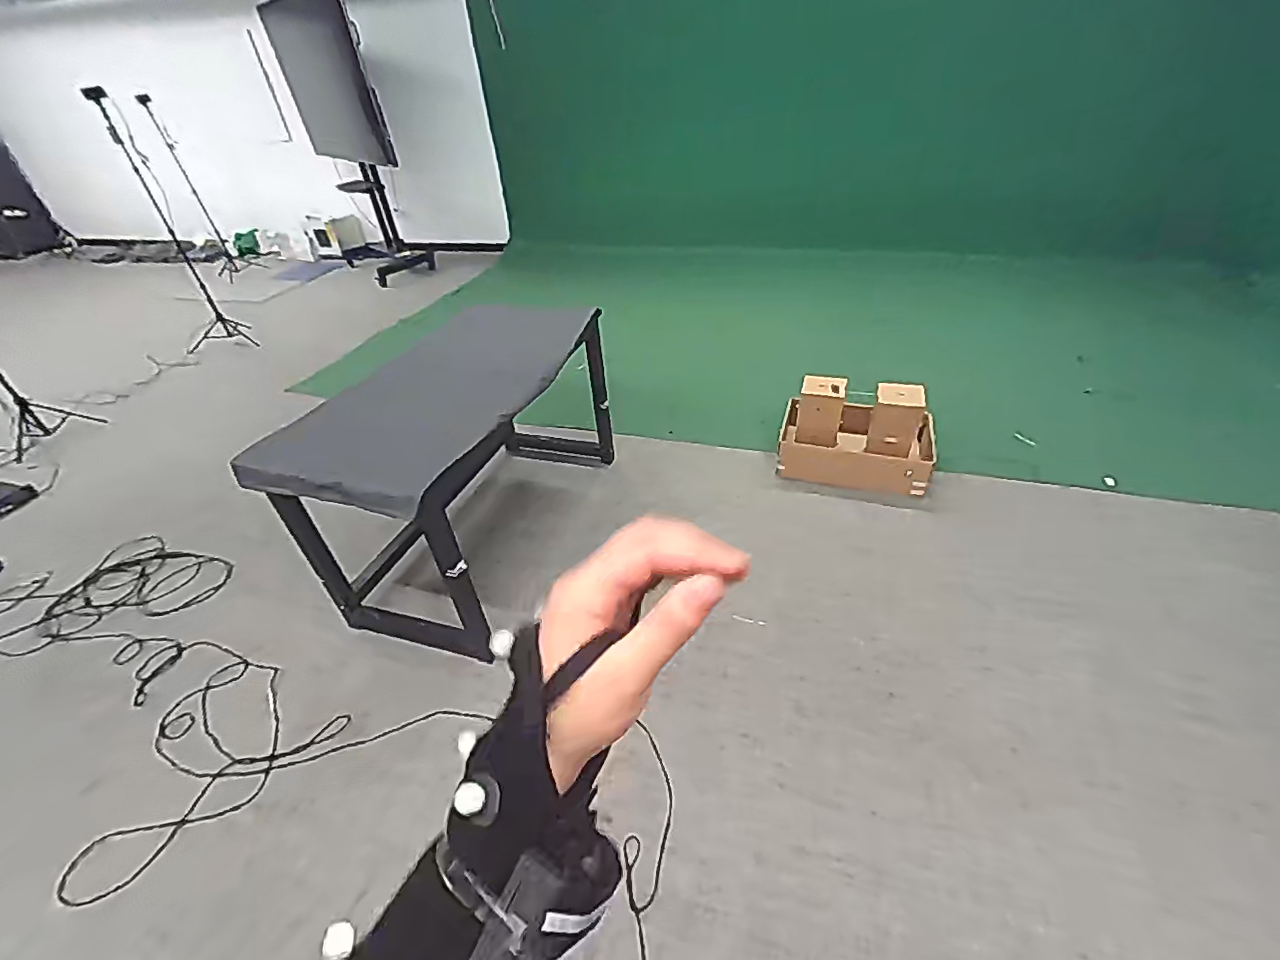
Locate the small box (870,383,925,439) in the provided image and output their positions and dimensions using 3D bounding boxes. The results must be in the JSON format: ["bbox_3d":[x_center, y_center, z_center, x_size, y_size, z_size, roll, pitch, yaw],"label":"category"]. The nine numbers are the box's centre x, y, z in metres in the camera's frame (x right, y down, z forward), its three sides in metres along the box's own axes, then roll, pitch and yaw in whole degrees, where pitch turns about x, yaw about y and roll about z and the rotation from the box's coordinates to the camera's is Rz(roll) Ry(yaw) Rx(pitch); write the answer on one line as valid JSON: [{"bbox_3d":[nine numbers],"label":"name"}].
[{"bbox_3d":[1.058,-0.284,2.234,0.179,0.176,0.168,9,42,16],"label":"small box"}]

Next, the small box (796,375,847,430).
[{"bbox_3d":[0.775,-0.331,2.317,0.179,0.176,0.168,10,40,18],"label":"small box"}]

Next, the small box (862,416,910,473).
[{"bbox_3d":[1.062,-0.153,2.331,0.168,0.176,0.179,10,42,19],"label":"small box"}]
